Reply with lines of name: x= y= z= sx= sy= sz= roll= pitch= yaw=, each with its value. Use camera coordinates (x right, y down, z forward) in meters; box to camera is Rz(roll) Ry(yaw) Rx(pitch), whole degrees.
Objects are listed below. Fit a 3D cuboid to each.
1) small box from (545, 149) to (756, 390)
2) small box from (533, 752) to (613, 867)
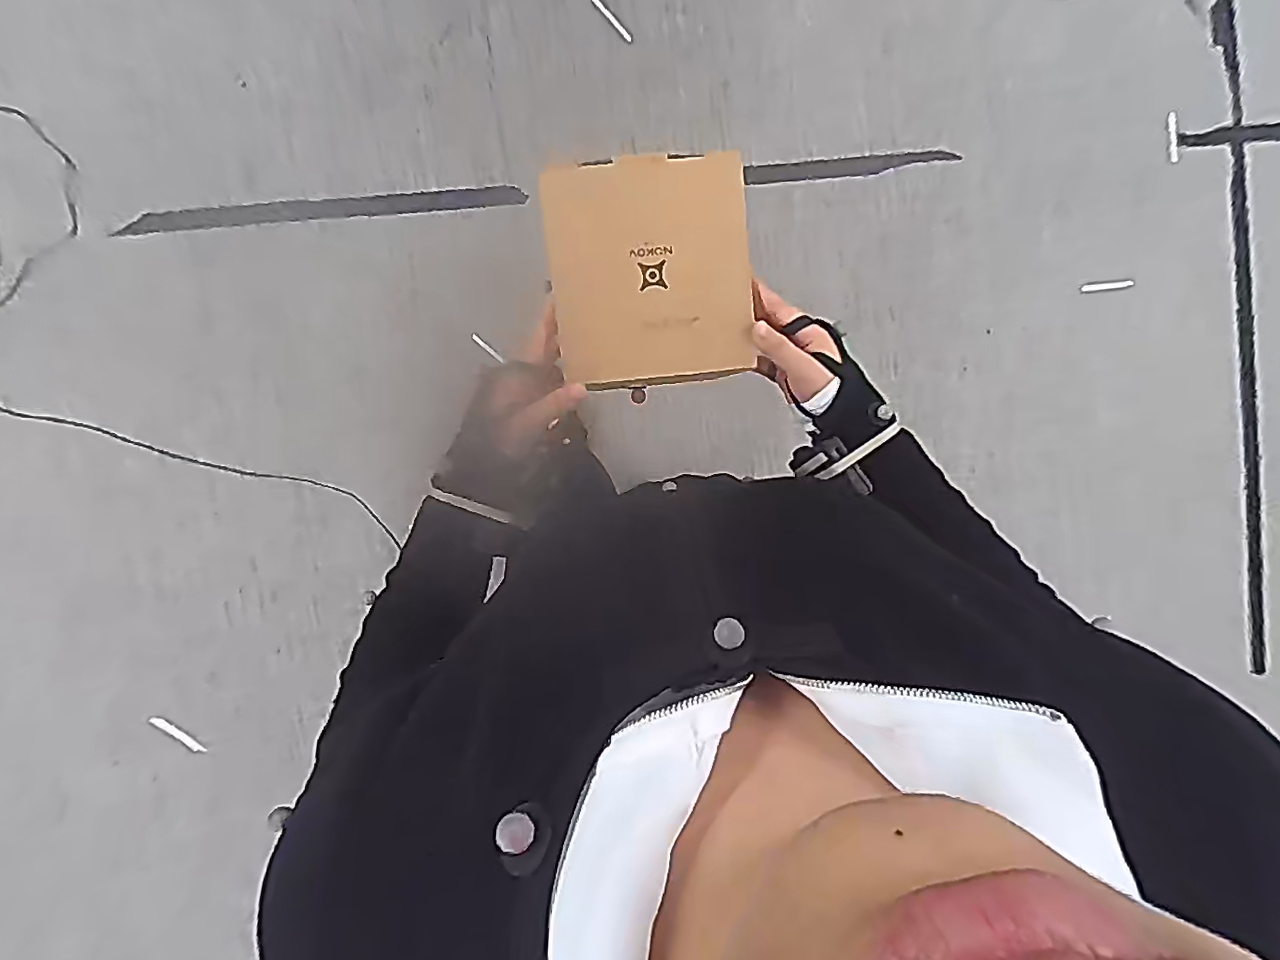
small box: x=0.004 y=-0.185 z=0.523 sx=0.168 sy=0.176 sz=0.179 roll=-6 pitch=98 yaw=-4
small box: x=-0.164 y=0.803 z=1.343 sx=0.168 sy=0.176 sz=0.179 roll=-10 pitch=94 yaw=-3
